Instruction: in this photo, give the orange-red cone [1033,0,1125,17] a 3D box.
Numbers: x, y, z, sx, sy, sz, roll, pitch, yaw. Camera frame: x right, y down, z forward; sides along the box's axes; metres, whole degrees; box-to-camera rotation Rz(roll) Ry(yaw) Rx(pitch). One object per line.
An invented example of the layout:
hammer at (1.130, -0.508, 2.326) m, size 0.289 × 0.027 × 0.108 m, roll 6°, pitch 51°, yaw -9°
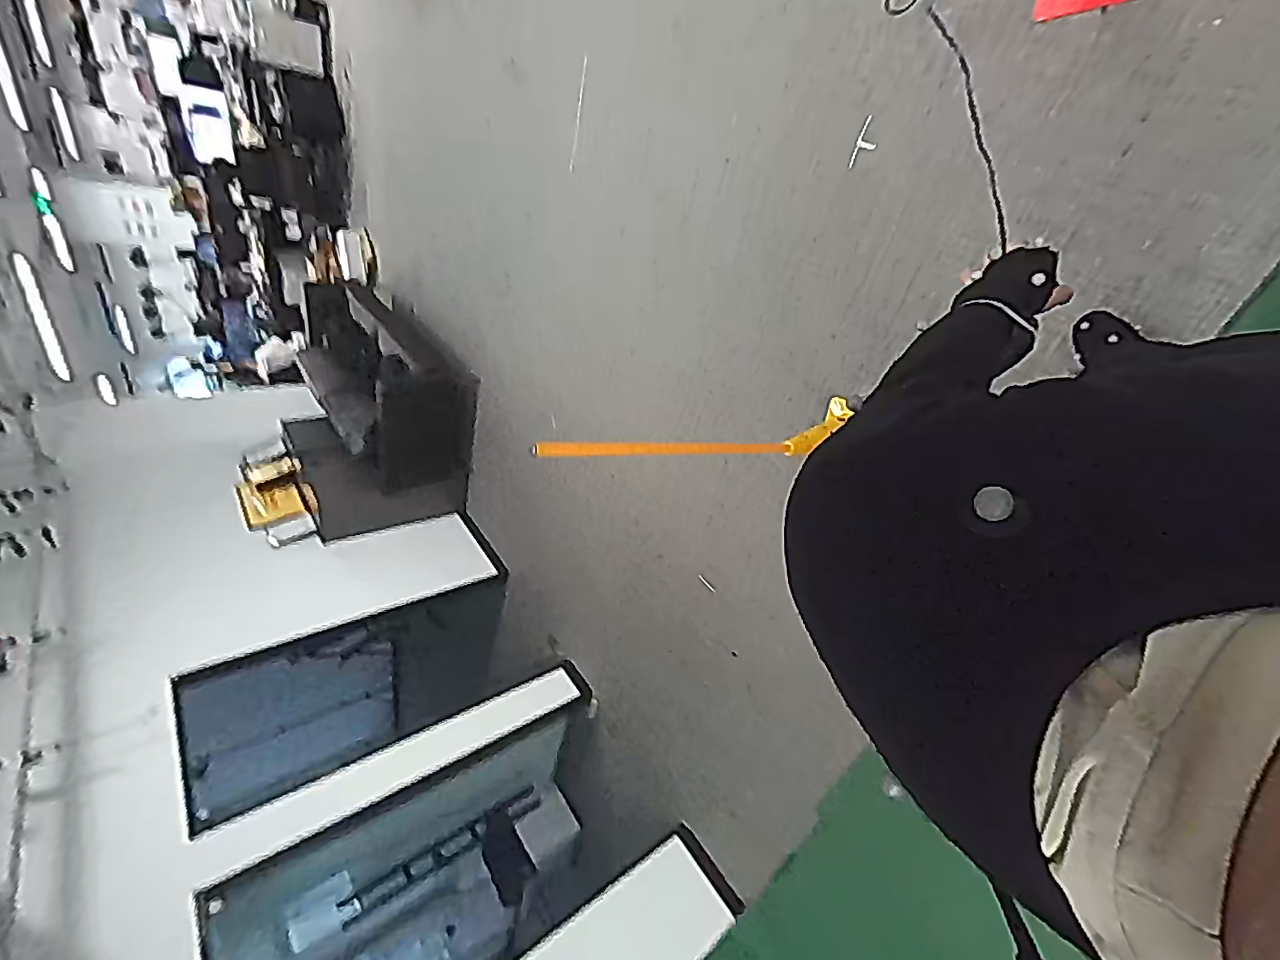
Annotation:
orange-red cone at (0.838, -1.084, 1.031) m, size 0.198 × 0.360 × 0.199 m, roll 27°, pitch 120°, yaw 43°
